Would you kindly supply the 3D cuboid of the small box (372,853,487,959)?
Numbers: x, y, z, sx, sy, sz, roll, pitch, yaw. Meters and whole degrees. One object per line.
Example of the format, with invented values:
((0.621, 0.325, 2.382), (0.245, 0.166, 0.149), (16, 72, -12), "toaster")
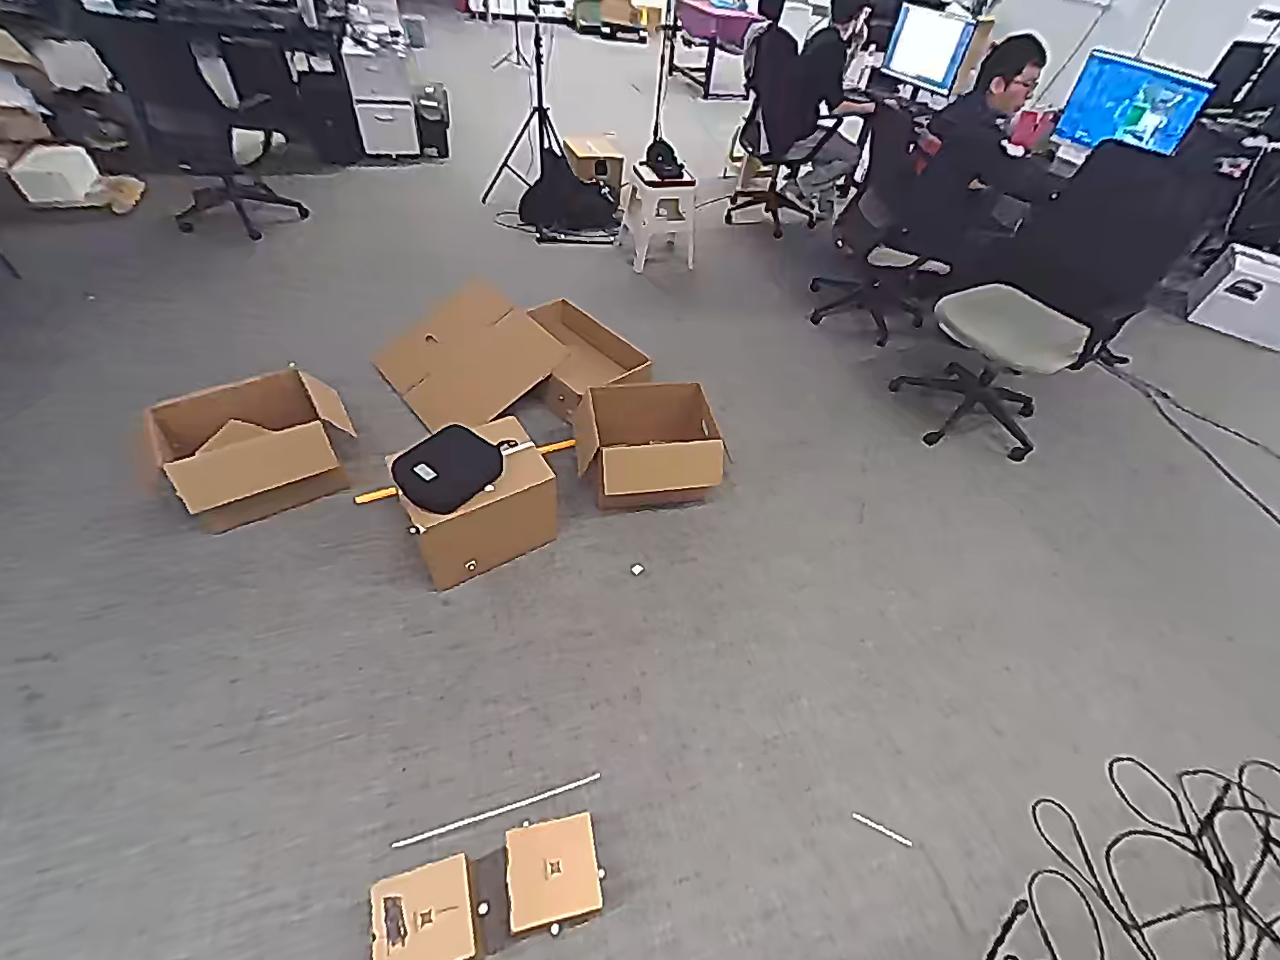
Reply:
((-0.406, 0.866, 1.054), (0.179, 0.176, 0.168), (-10, 49, -16), "small box")

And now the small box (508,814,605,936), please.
((-0.174, 0.821, 1.123), (0.179, 0.176, 0.168), (-8, 49, -11), "small box")
